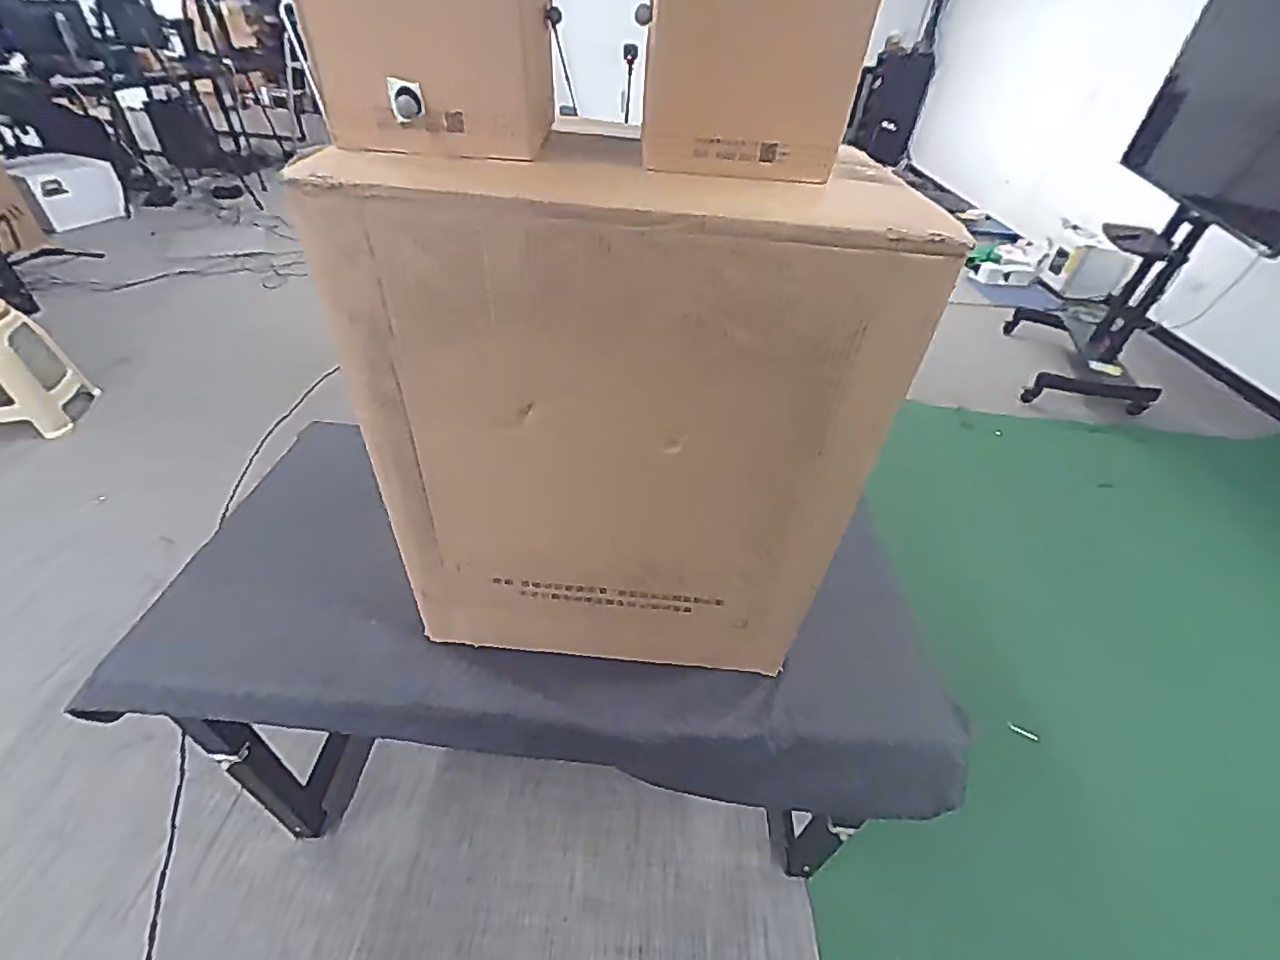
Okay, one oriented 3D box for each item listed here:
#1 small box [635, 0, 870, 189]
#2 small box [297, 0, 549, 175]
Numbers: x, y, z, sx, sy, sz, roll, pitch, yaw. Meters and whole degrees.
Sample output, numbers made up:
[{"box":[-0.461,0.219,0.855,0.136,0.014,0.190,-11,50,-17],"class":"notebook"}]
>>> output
[{"box":[0.082,-0.377,0.479,0.168,0.176,0.179,2,42,-3],"class":"small box"},{"box":[-0.172,-0.379,0.461,0.168,0.176,0.179,0,44,-2],"class":"small box"}]
